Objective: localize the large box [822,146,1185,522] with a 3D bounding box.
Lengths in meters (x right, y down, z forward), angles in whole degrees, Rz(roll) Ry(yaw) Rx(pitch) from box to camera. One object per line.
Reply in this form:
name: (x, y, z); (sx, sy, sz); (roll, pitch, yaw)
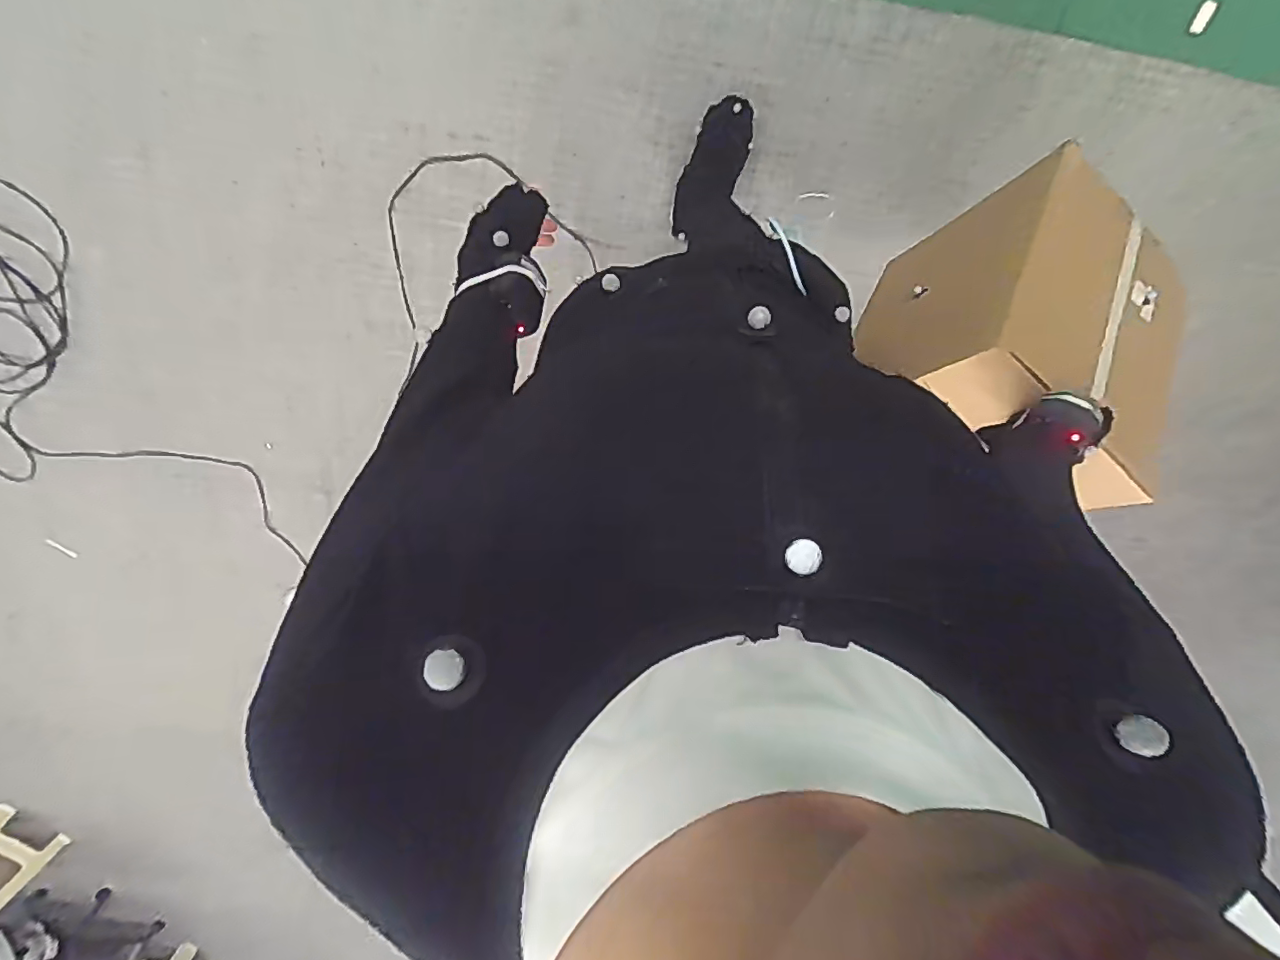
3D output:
large box: (0.556, -0.193, 0.847); (0.320, 0.408, 0.320); (36, 158, -14)
